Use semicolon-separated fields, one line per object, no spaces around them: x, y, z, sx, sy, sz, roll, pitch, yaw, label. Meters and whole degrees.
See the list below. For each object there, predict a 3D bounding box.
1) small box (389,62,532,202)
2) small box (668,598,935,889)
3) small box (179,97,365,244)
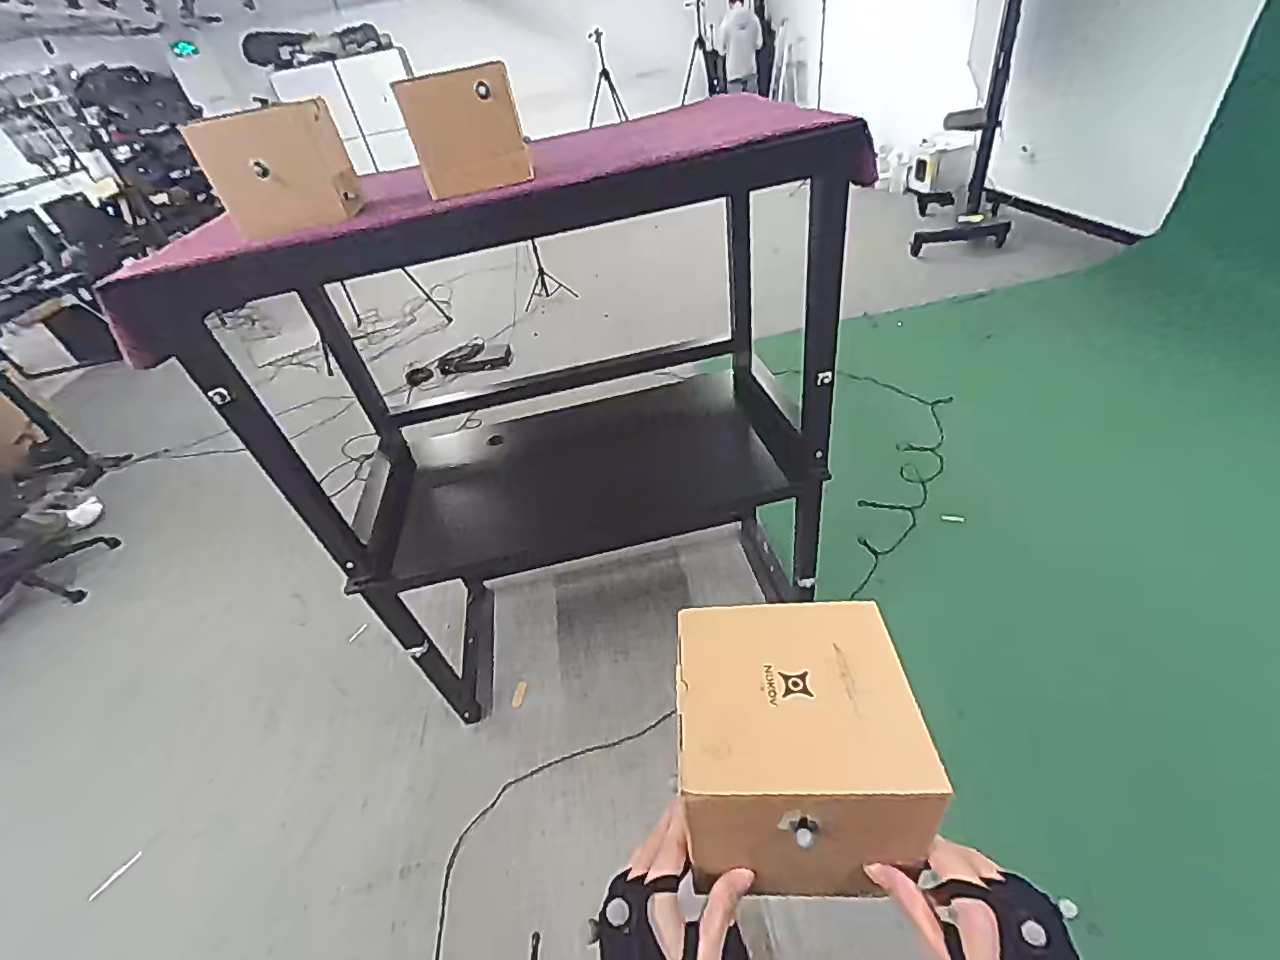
-0.293;-0.592;0.922;0.179;0.176;0.168;-13;39;-2;small box
0.121;0.222;0.463;0.179;0.176;0.168;-4;34;7;small box
-0.593;-0.517;0.903;0.179;0.176;0.168;-15;39;-3;small box
